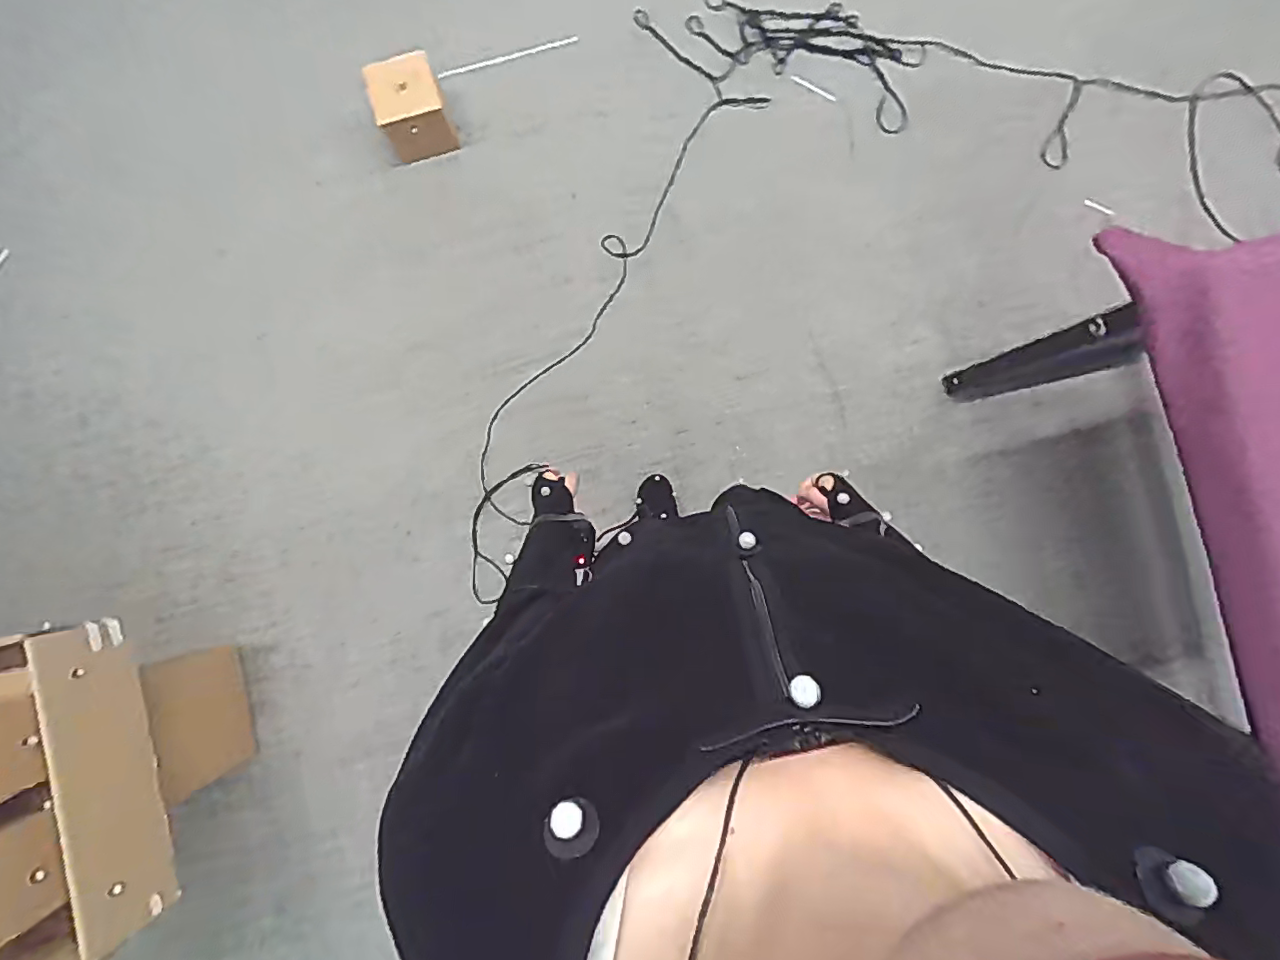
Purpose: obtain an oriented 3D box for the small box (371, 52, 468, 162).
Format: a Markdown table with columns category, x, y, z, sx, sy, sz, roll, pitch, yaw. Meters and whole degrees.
| category | x | y | z | sx | sy | sz | roll | pitch | yaw |
| --- | --- | --- | --- | --- | --- | --- | --- | --- | --- |
| small box | -0.600 | -1.016 | 1.489 | 0.179 | 0.176 | 0.168 | -15 | 88 | 0 |
